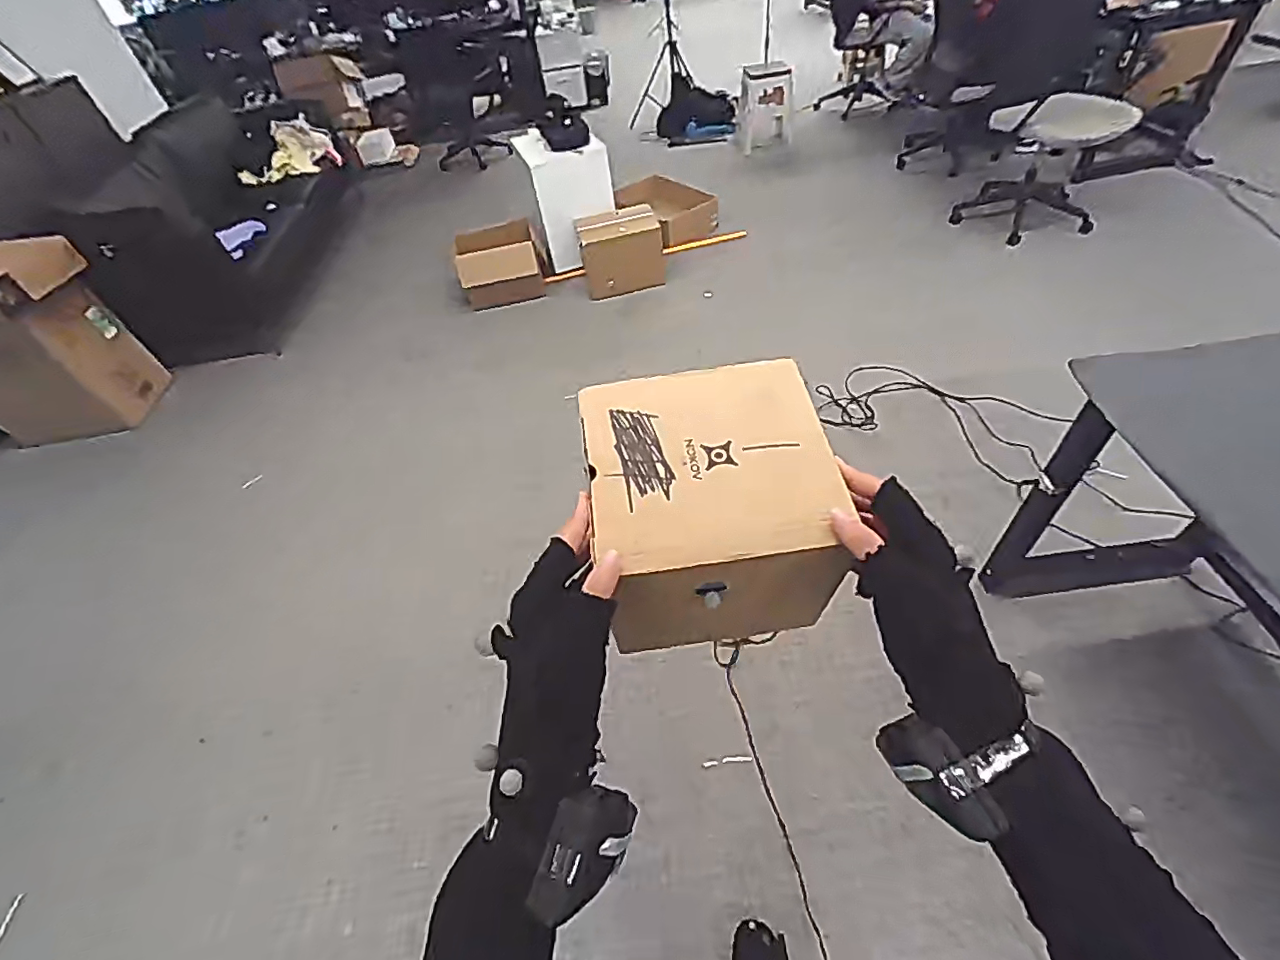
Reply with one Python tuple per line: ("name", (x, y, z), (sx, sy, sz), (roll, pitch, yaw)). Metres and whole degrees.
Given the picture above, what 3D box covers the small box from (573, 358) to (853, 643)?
("small box", (0.047, 0.026, 0.451), (0.179, 0.176, 0.168), (-8, 57, -1))
